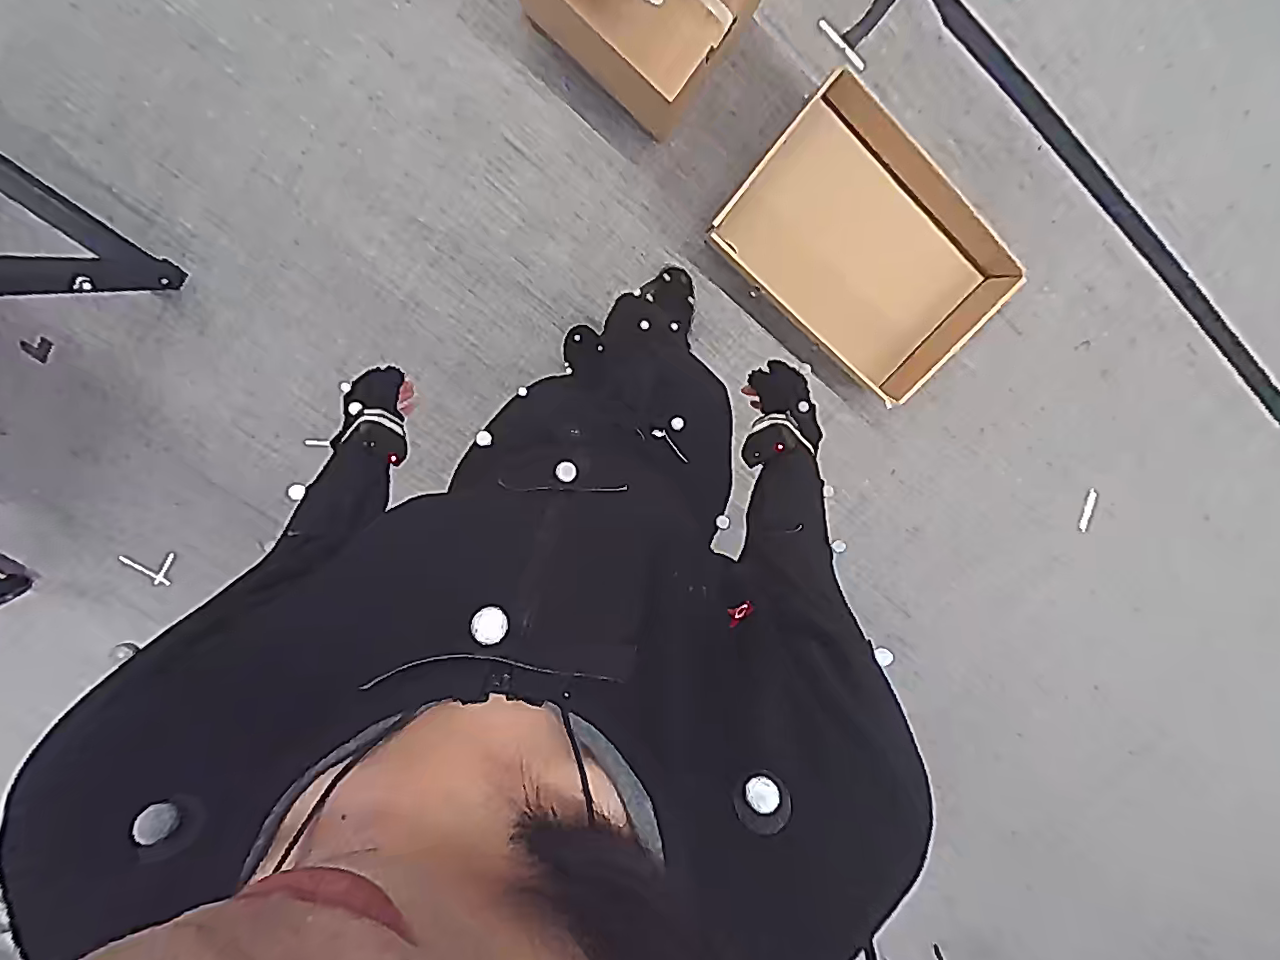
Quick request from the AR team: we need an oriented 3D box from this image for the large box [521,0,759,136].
[{"bbox_3d":[0.000,-0.959,1.023,0.408,0.320,0.320,36,107,-14],"label":"large box"}]
